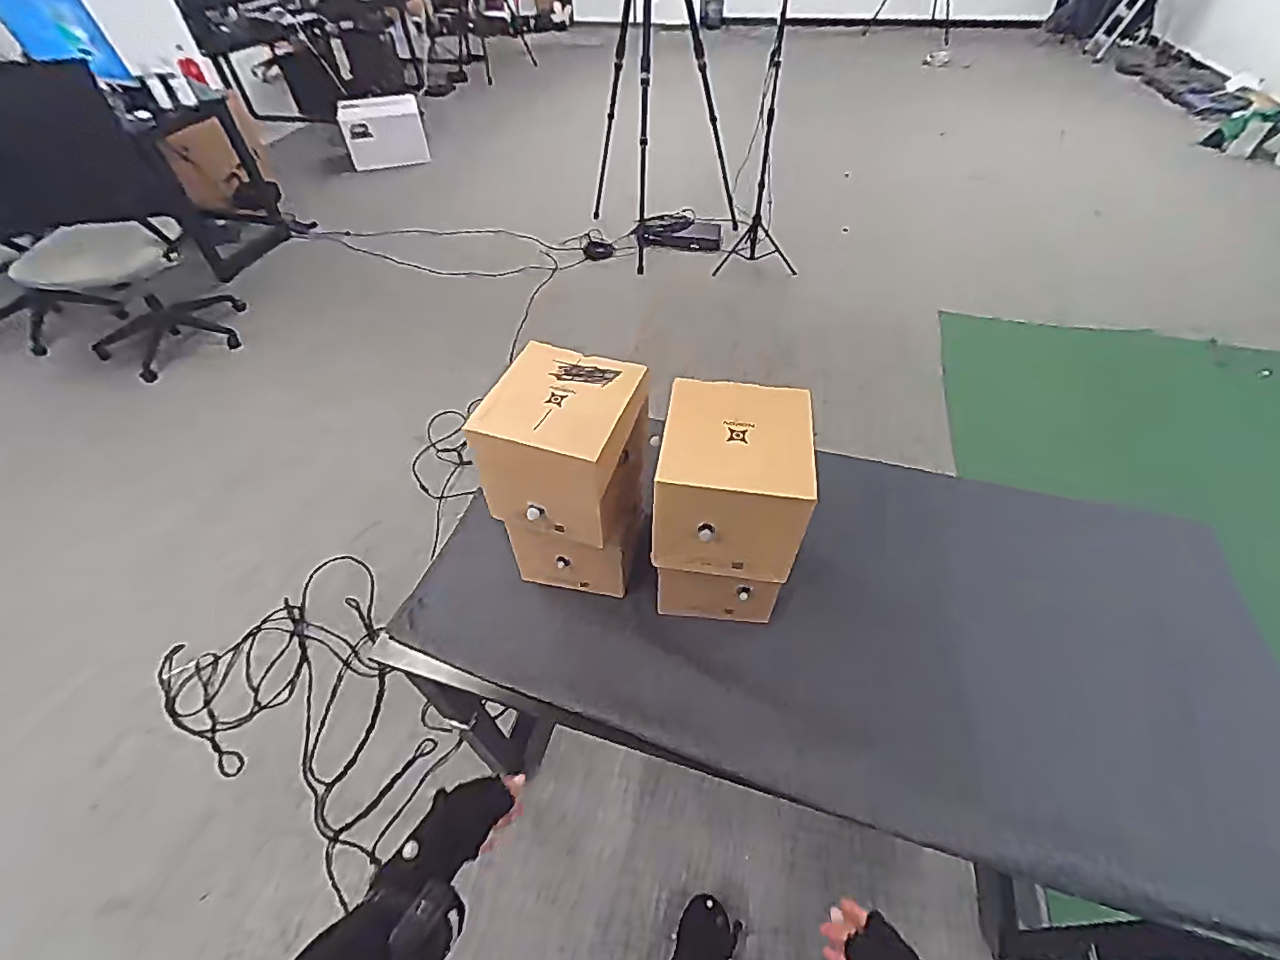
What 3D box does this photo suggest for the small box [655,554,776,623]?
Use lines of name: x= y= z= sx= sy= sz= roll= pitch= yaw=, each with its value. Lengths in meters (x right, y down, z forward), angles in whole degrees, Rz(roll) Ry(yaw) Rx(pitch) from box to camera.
small box: x=0.112 y=0.092 z=0.799 sx=0.168 sy=0.176 sz=0.179 roll=5 pitch=48 yaw=4

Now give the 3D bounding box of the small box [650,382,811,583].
small box: x=0.106 y=0.005 z=0.660 sx=0.168 sy=0.176 sz=0.179 roll=6 pitch=48 yaw=6
